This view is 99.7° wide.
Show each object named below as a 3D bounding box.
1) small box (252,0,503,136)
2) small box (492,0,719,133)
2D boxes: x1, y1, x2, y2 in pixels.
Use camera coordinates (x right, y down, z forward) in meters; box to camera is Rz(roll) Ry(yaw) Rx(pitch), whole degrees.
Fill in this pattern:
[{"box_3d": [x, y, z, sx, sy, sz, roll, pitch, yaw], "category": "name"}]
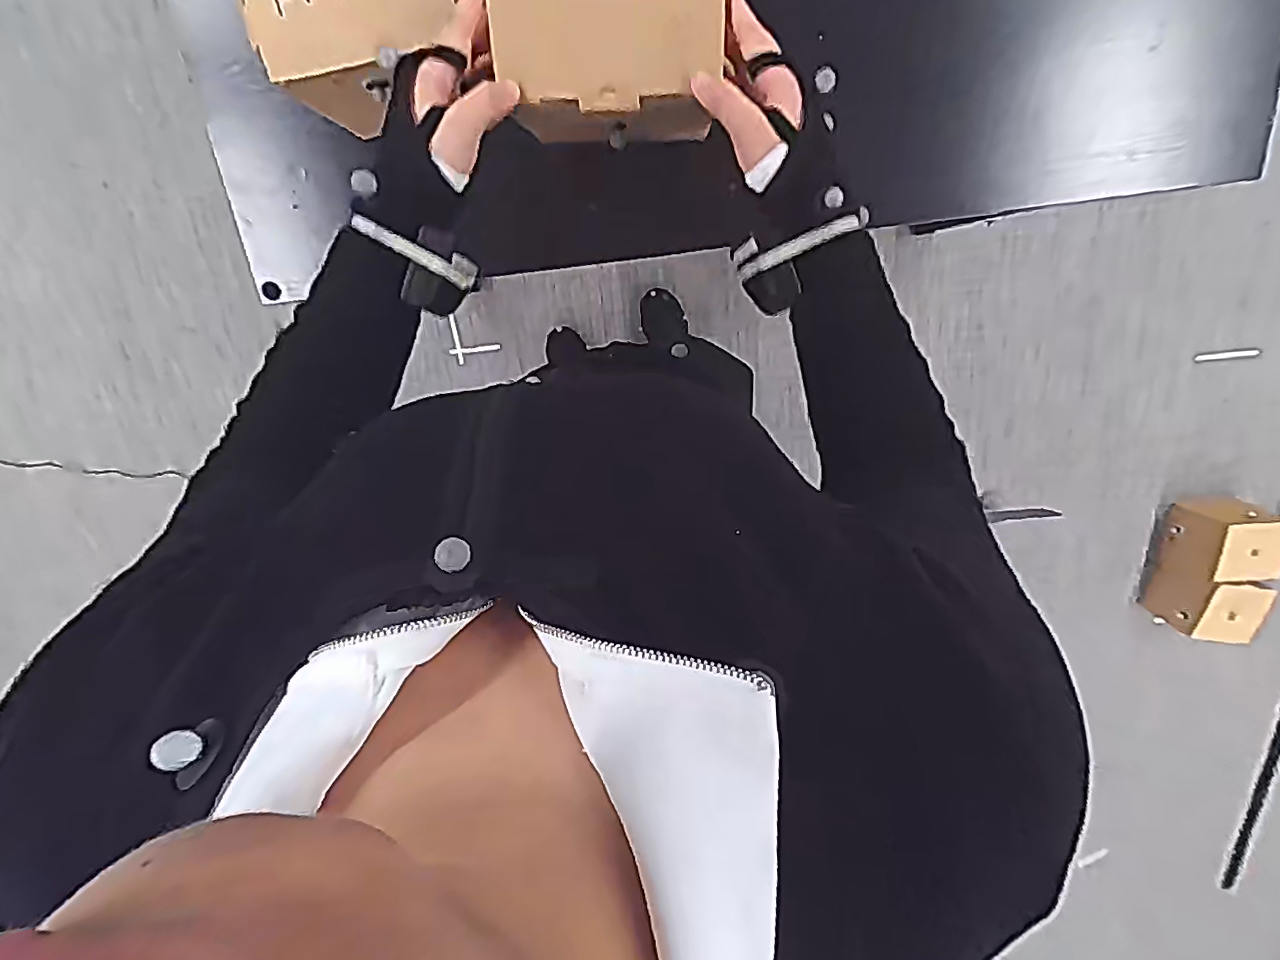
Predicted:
[{"box_3d": [-0.249, -0.463, 0.526, 0.179, 0.176, 0.168, -11, 108, 2], "category": "small box"}, {"box_3d": [-0.020, -0.395, 0.442, 0.168, 0.176, 0.179, 0, 115, 4], "category": "small box"}]
